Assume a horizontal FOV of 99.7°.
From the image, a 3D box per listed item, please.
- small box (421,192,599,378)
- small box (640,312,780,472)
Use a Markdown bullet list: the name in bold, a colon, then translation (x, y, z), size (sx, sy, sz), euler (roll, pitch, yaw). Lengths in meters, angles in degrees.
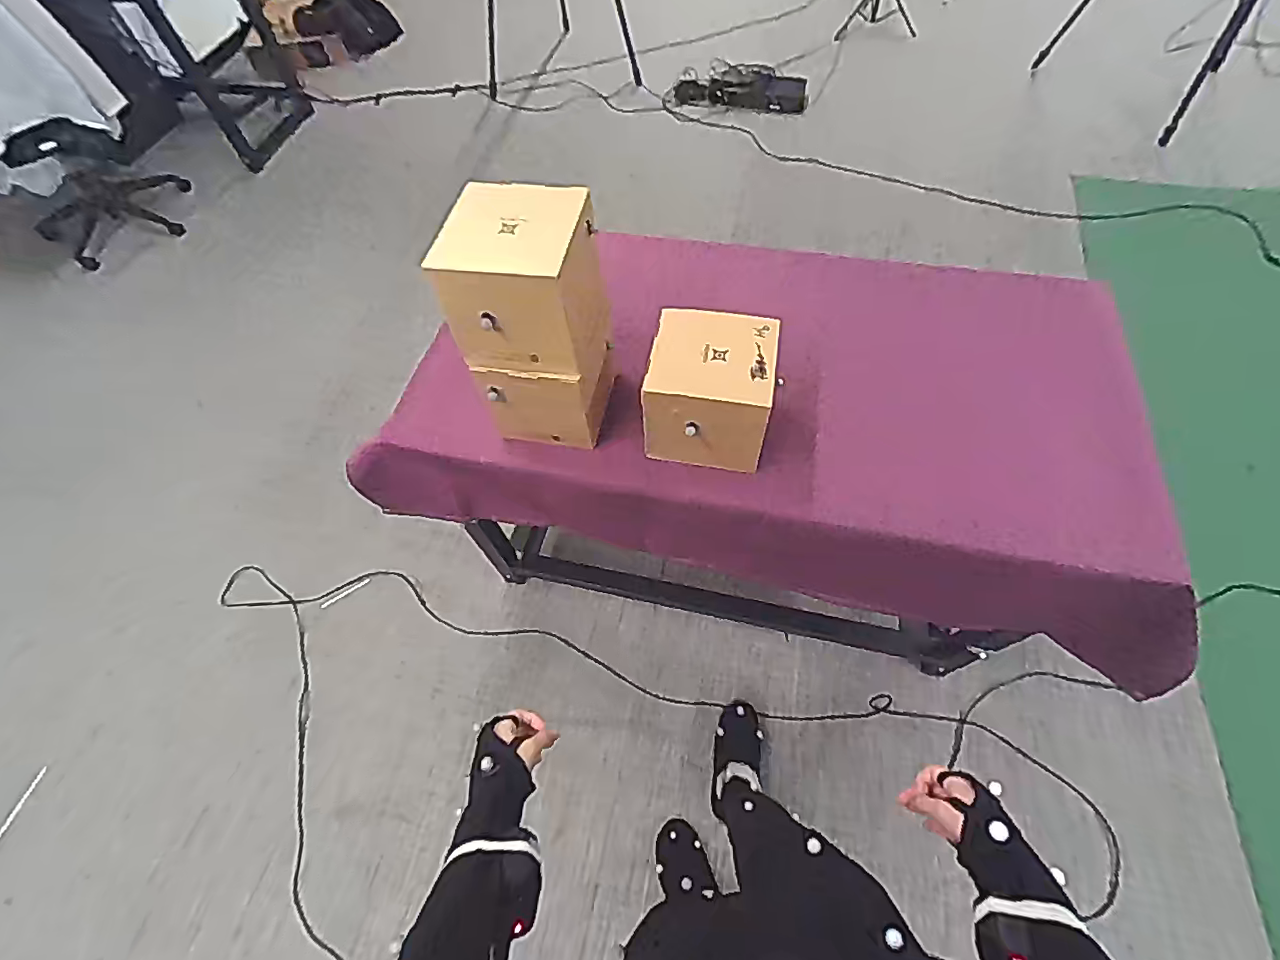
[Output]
- **small box**: translation (-0.157, -0.257, 0.726), size (0.168, 0.176, 0.179), euler (6, 58, 8)
- **small box**: translation (0.106, -0.128, 0.818), size (0.179, 0.176, 0.168), euler (8, 60, 9)
